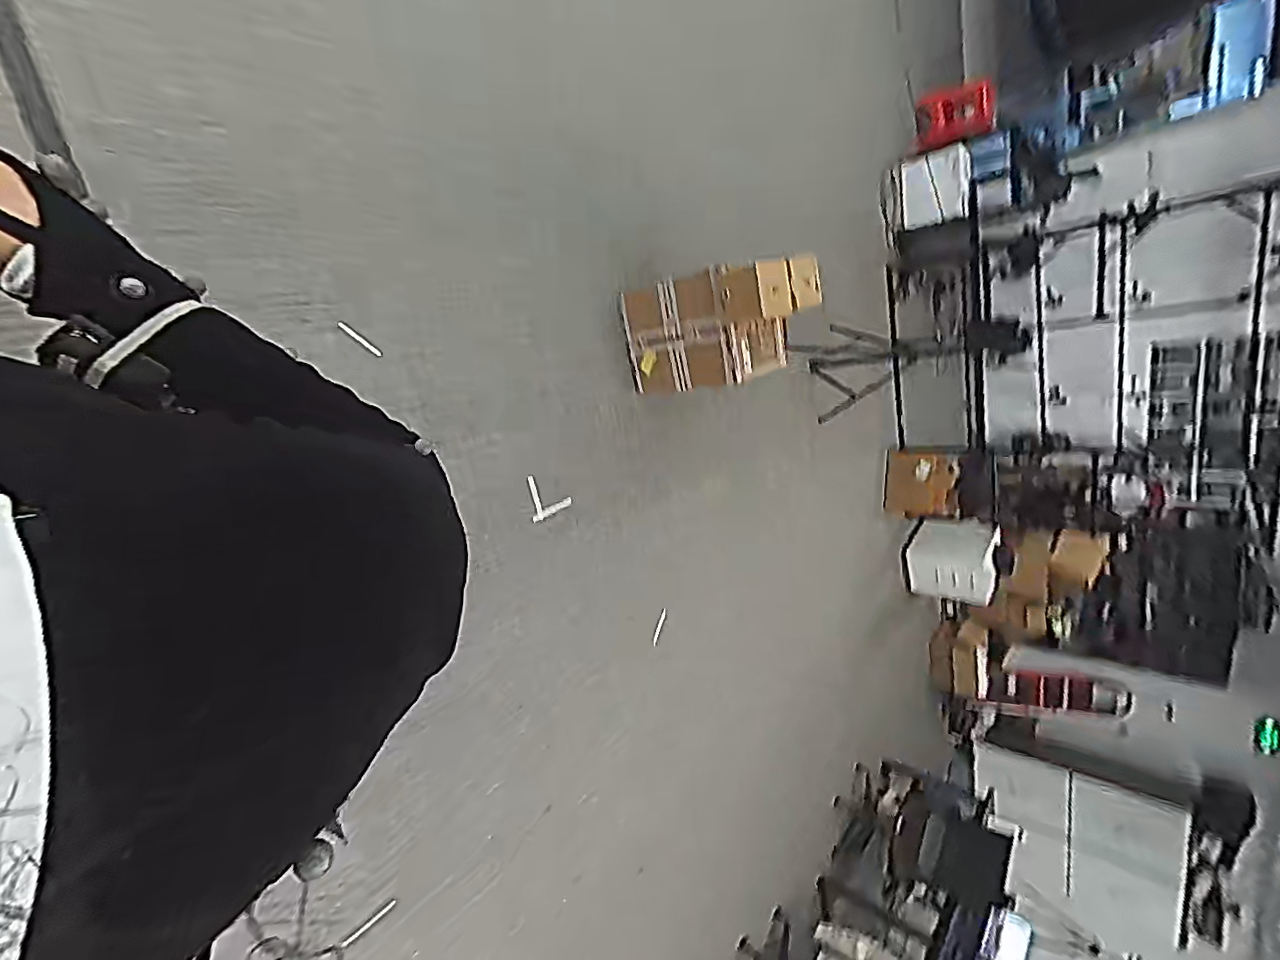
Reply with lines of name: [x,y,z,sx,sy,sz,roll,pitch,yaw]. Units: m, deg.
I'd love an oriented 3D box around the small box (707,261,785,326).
small box: [0.341,-0.599,1.741,0.179,0.176,0.168,-23,107,-40]
